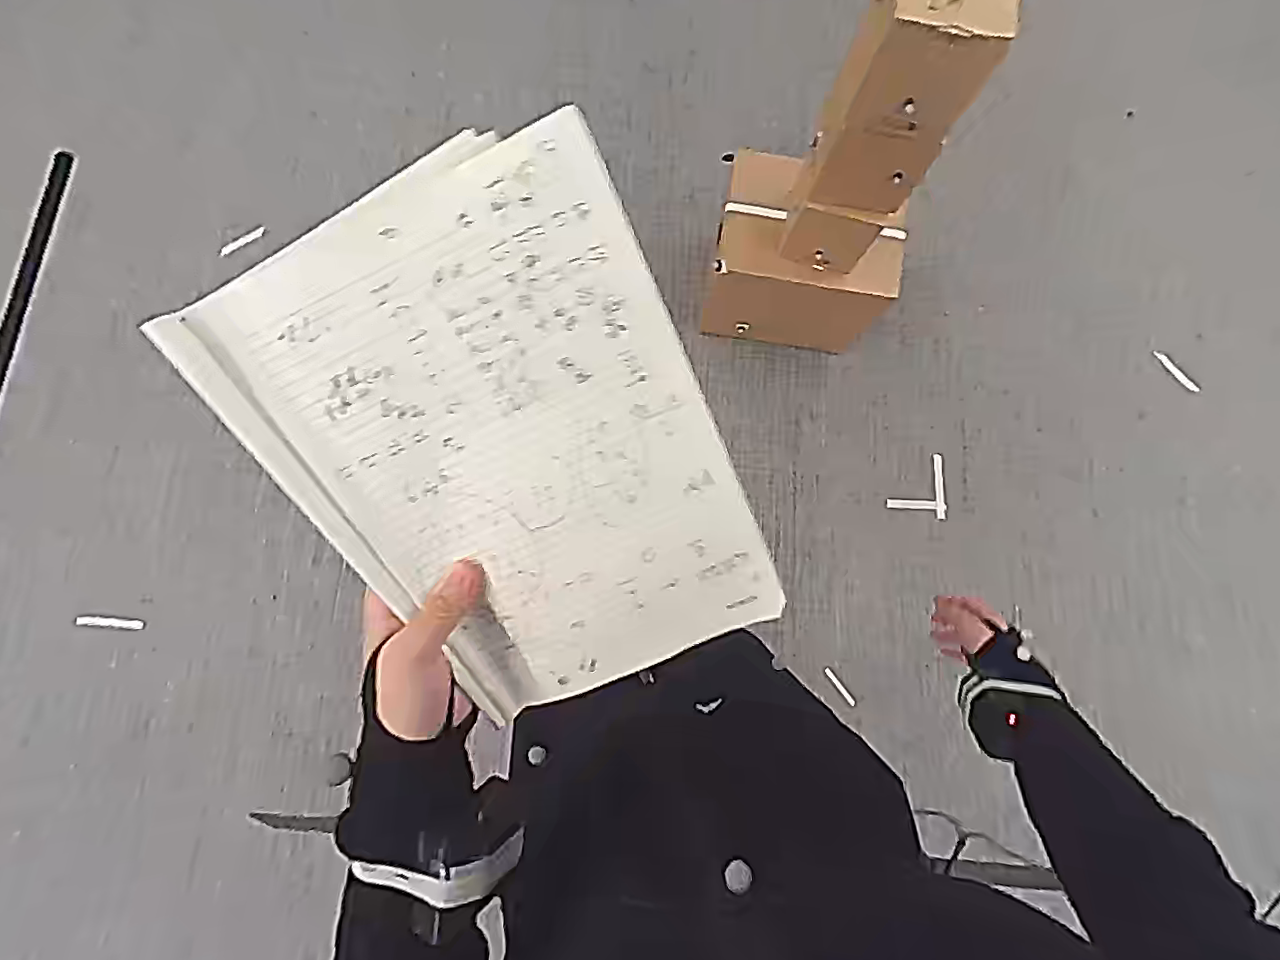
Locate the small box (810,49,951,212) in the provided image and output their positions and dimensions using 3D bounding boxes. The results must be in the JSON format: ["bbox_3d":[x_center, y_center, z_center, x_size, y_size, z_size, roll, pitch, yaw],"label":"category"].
[{"bbox_3d":[0.421,-0.608,0.959,0.179,0.176,0.168,8,78,0],"label":"small box"}]

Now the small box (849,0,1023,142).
[{"bbox_3d":[0.427,-0.651,0.800,0.168,0.176,0.179,10,79,0],"label":"small box"}]

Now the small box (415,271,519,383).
[{"bbox_3d":[-0.418,-0.375,1.348,0.179,0.176,0.168,-39,84,-11],"label":"small box"}]
